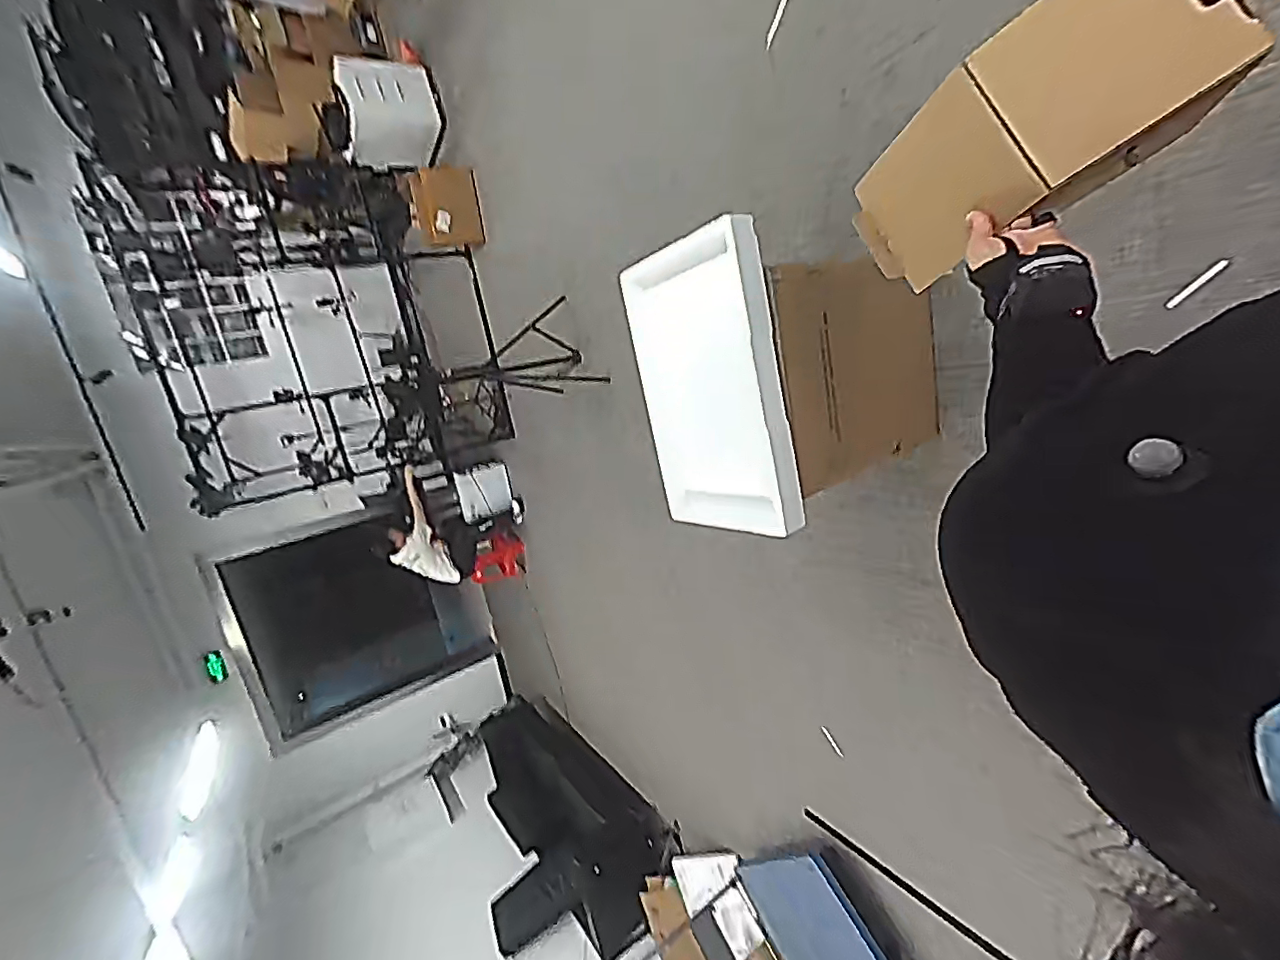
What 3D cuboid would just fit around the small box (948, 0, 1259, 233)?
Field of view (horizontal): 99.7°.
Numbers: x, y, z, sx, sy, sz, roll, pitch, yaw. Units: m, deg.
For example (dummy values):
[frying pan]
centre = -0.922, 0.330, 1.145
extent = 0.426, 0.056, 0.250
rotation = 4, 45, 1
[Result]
[small box]
centre = 0.455, -0.397, 0.570
extent = 0.179, 0.176, 0.168
rotation = -33, 82, 27
